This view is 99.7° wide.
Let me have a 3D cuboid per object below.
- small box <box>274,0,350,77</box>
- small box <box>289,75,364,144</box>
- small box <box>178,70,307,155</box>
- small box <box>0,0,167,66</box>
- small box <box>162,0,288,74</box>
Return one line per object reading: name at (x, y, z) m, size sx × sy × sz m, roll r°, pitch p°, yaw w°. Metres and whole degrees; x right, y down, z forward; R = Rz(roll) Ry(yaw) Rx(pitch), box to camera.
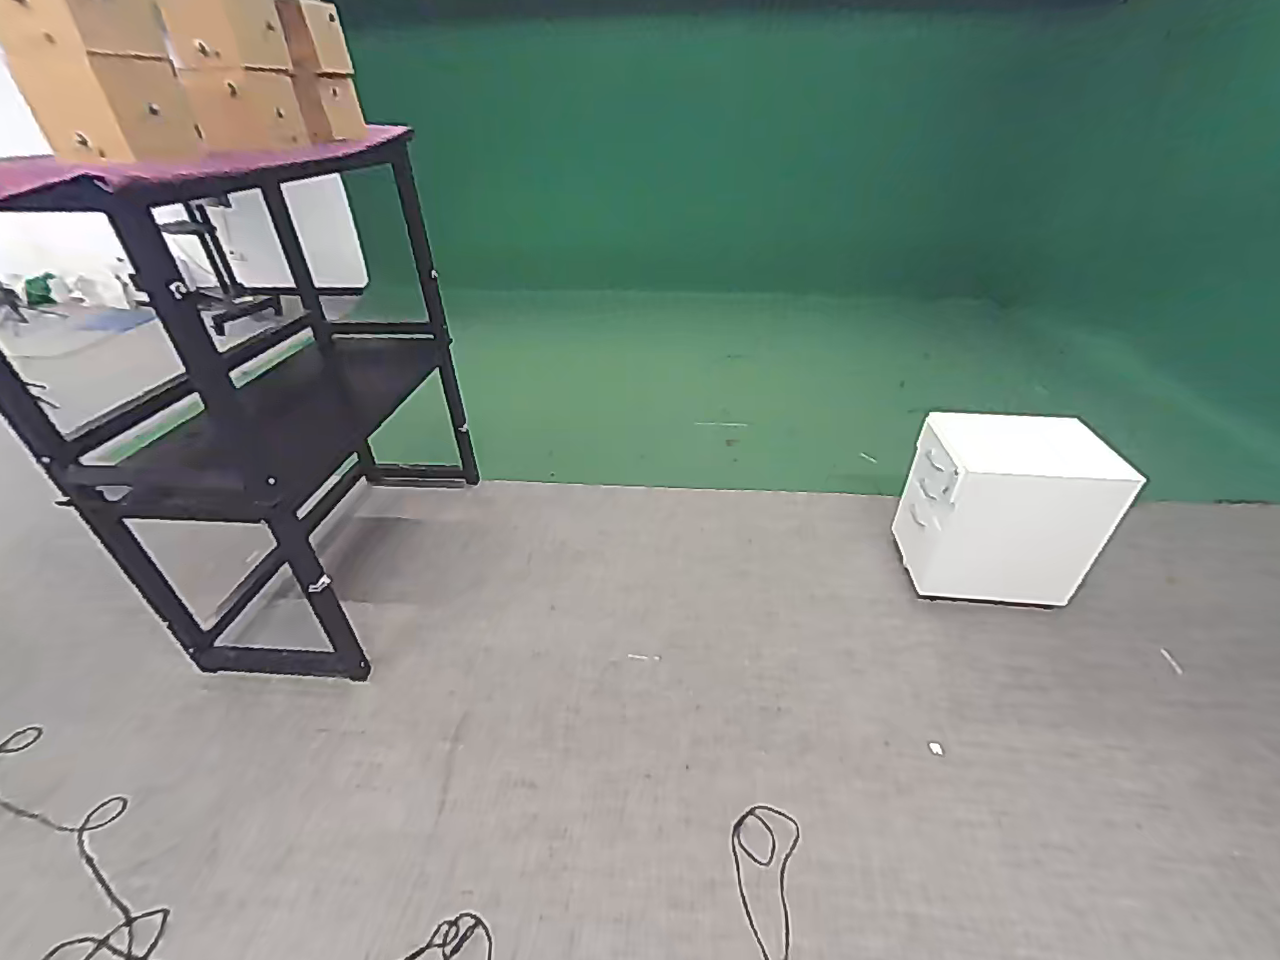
small box at (-0.979, -1.268, 1.568) m, size 0.168 × 0.176 × 0.179 m, roll 2°, pitch 36°, yaw 7°
small box at (-0.987, -1.137, 1.665) m, size 0.168 × 0.176 × 0.179 m, roll 4°, pitch 36°, yaw 10°
small box at (-0.989, -0.928, 1.368) m, size 0.179 × 0.176 × 0.168 m, roll 3°, pitch 34°, yaw 6°
small box at (-0.999, -0.836, 0.945) m, size 0.168 × 0.176 × 0.179 m, roll 4°, pitch 36°, yaw 5°
small box at (-0.978, -1.067, 1.283) m, size 0.168 × 0.176 × 0.179 m, roll 3°, pitch 36°, yaw 7°
